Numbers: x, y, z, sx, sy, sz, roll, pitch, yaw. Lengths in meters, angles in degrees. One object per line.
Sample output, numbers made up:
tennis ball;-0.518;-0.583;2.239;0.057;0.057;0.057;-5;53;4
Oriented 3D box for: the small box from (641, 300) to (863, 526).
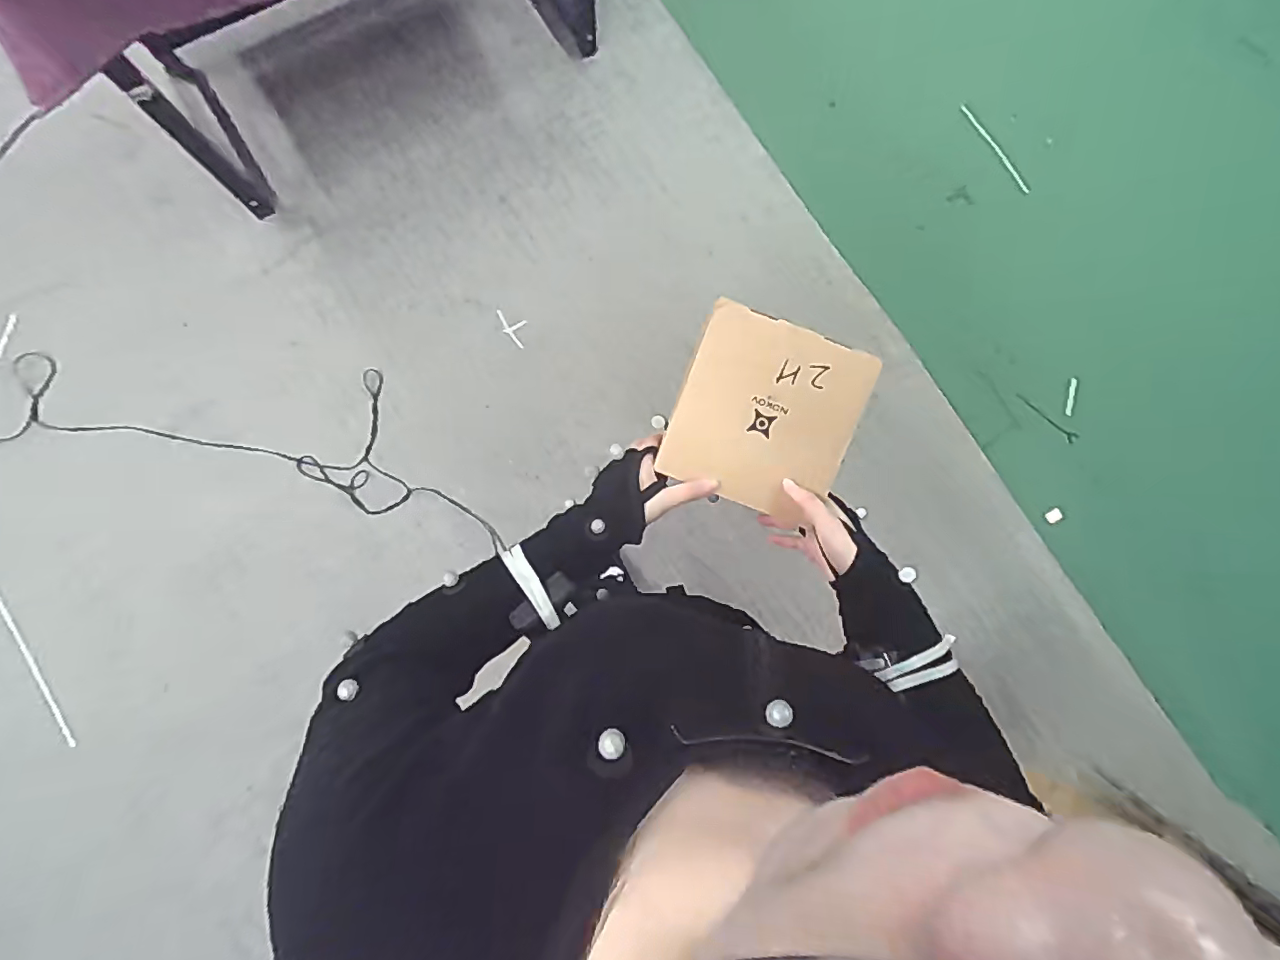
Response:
small box;0.111;-0.071;0.601;0.168;0.176;0.179;21;96;0
